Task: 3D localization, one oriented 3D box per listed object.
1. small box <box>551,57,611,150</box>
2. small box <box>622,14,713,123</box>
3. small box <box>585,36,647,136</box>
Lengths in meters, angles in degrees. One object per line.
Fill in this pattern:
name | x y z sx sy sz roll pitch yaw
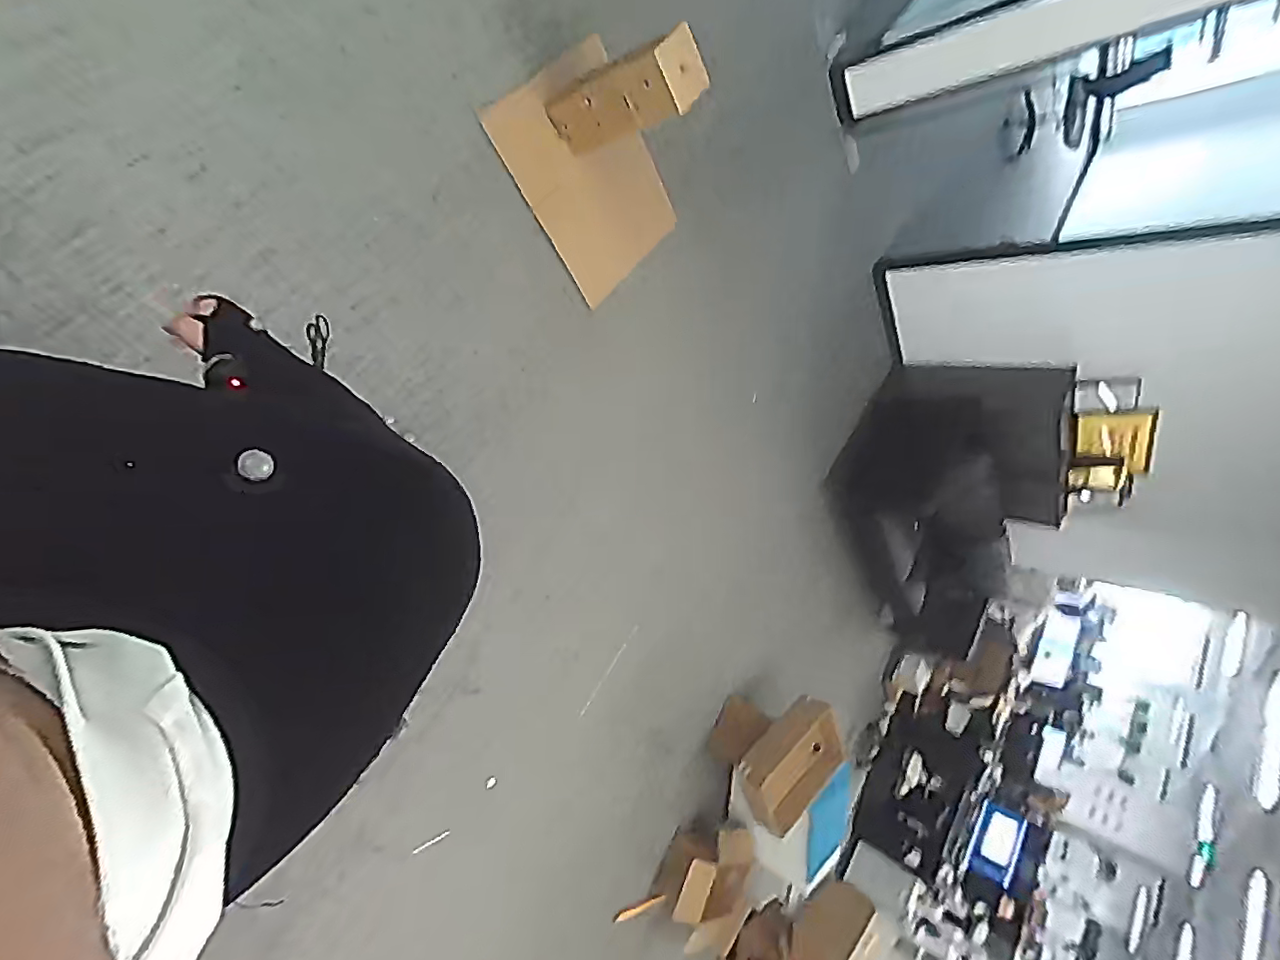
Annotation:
small box | -0.158 -1.224 1.768 0.168 0.176 0.179 47 68 -41
small box | 0.071 -1.165 1.545 0.179 0.176 0.168 -56 132 -20
small box | -0.045 -1.195 1.654 0.179 0.176 0.168 -57 132 -20
